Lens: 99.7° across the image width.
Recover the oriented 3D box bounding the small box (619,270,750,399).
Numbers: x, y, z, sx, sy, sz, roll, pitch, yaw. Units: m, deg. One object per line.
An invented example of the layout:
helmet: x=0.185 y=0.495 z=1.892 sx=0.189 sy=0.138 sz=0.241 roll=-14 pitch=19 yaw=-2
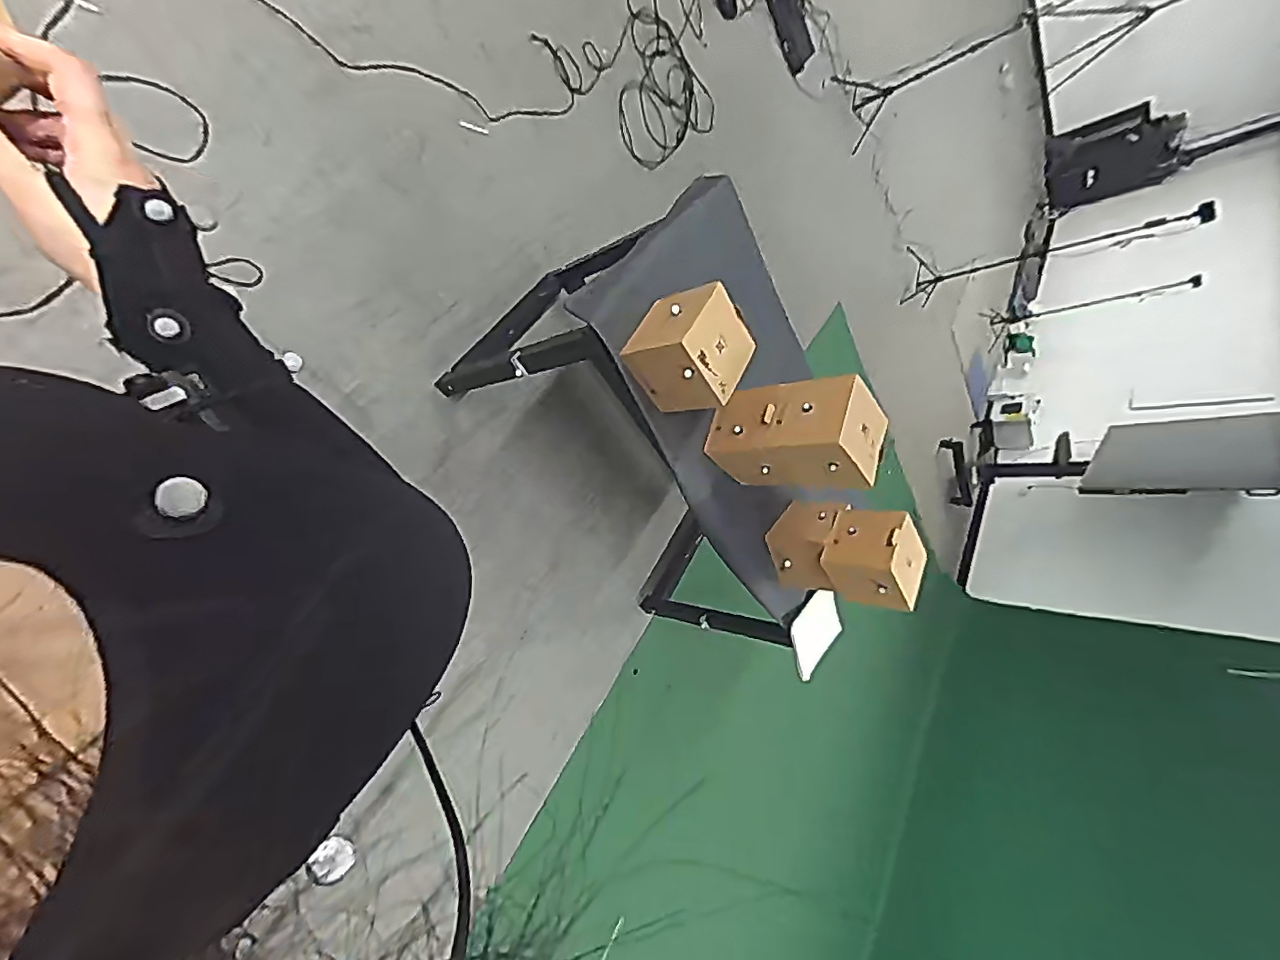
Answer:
small box: x=0.088 y=-0.283 z=1.081 sx=0.168 sy=0.176 sz=0.179 roll=48 pitch=59 yaw=-34

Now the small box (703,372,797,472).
small box: x=0.274 y=-0.127 z=1.263 sx=0.179 sy=0.176 sz=0.168 roll=35 pitch=67 yaw=-39

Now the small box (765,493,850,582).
small box: x=0.459 y=0.144 z=1.438 sx=0.179 sy=0.176 sz=0.168 roll=-40 pitch=116 yaw=-36

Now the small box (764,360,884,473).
small box: x=0.387 y=-0.124 z=1.143 sx=0.179 sy=0.176 sz=0.168 roll=38 pitch=65 yaw=-37

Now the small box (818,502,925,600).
small box: x=0.562 y=0.164 z=1.311 sx=0.179 sy=0.176 sz=0.168 roll=51 pitch=57 yaw=-30
